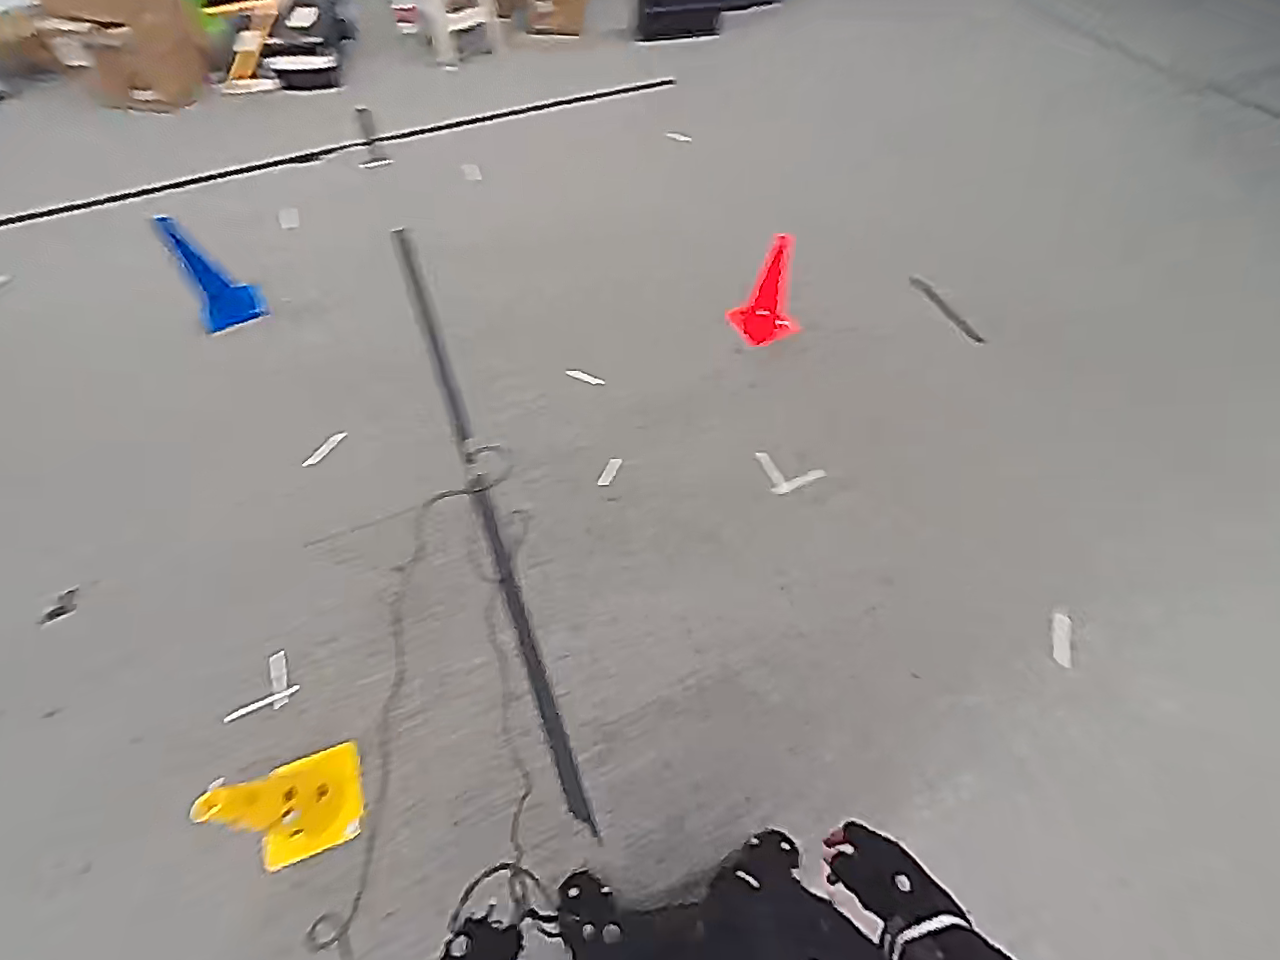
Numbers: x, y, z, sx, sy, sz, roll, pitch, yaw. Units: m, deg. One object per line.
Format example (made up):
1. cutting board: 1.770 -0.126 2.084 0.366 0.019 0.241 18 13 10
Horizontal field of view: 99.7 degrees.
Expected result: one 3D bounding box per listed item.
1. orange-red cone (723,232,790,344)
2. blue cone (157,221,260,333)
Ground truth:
1. orange-red cone: 0.433 -0.683 1.863 0.198 0.360 0.199 -24 61 -15
2. blue cone: -1.525 -0.712 1.870 0.192 0.380 0.193 -25 62 -15
